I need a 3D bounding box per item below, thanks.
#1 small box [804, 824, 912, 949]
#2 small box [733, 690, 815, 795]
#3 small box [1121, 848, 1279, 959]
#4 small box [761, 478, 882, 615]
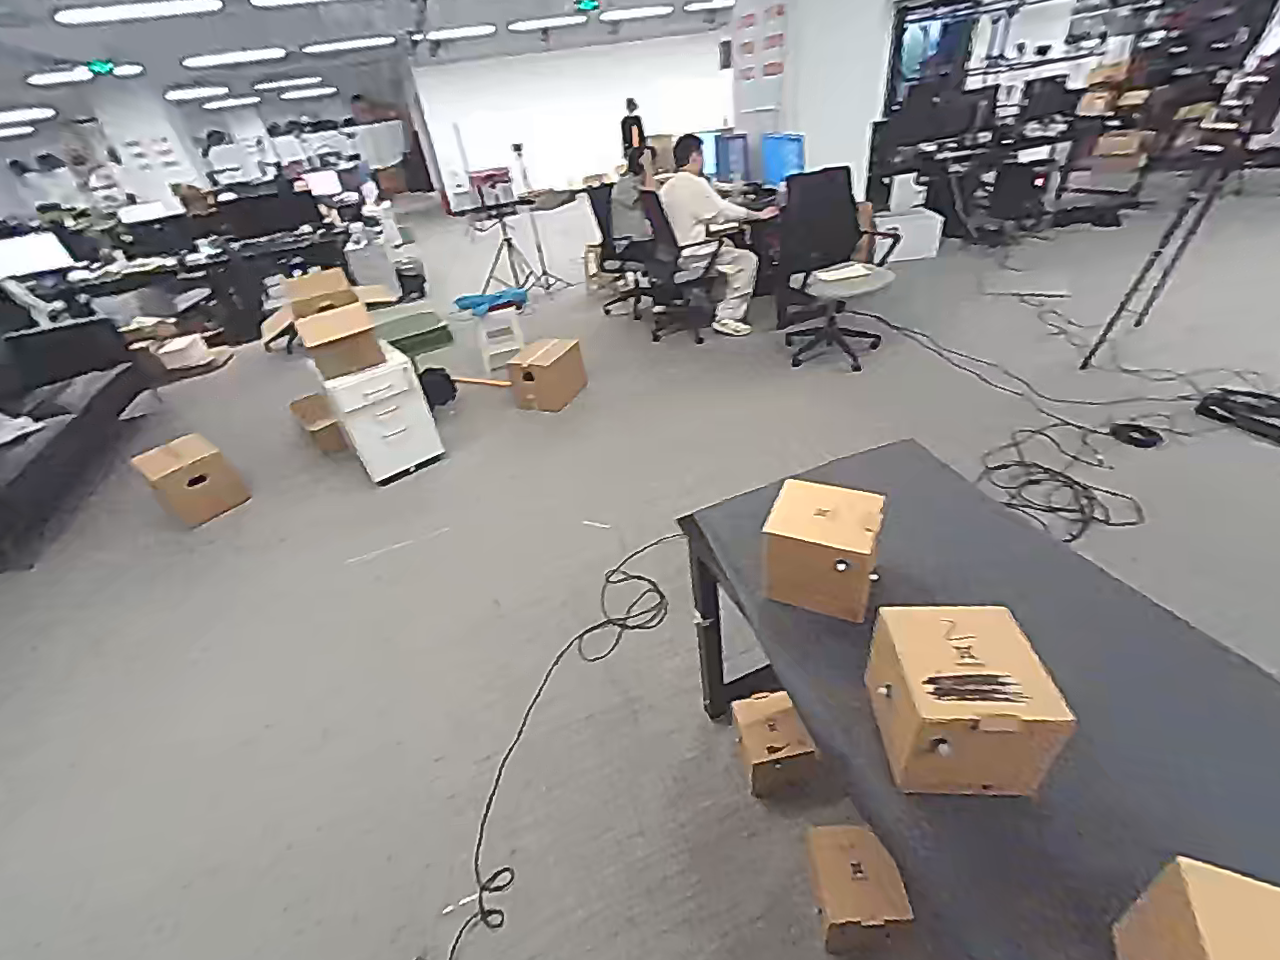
[{"bbox_3d":[0.457,0.873,1.159,0.168,0.176,0.179,-5,33,3],"label":"small box"},{"bbox_3d":[0.349,0.697,1.438,0.168,0.176,0.179,-11,33,-3],"label":"small box"},{"bbox_3d":[0.537,0.458,0.442,0.179,0.176,0.168,10,36,25],"label":"small box"},{"bbox_3d":[0.329,0.120,0.988,0.179,0.176,0.168,11,39,26],"label":"small box"}]
